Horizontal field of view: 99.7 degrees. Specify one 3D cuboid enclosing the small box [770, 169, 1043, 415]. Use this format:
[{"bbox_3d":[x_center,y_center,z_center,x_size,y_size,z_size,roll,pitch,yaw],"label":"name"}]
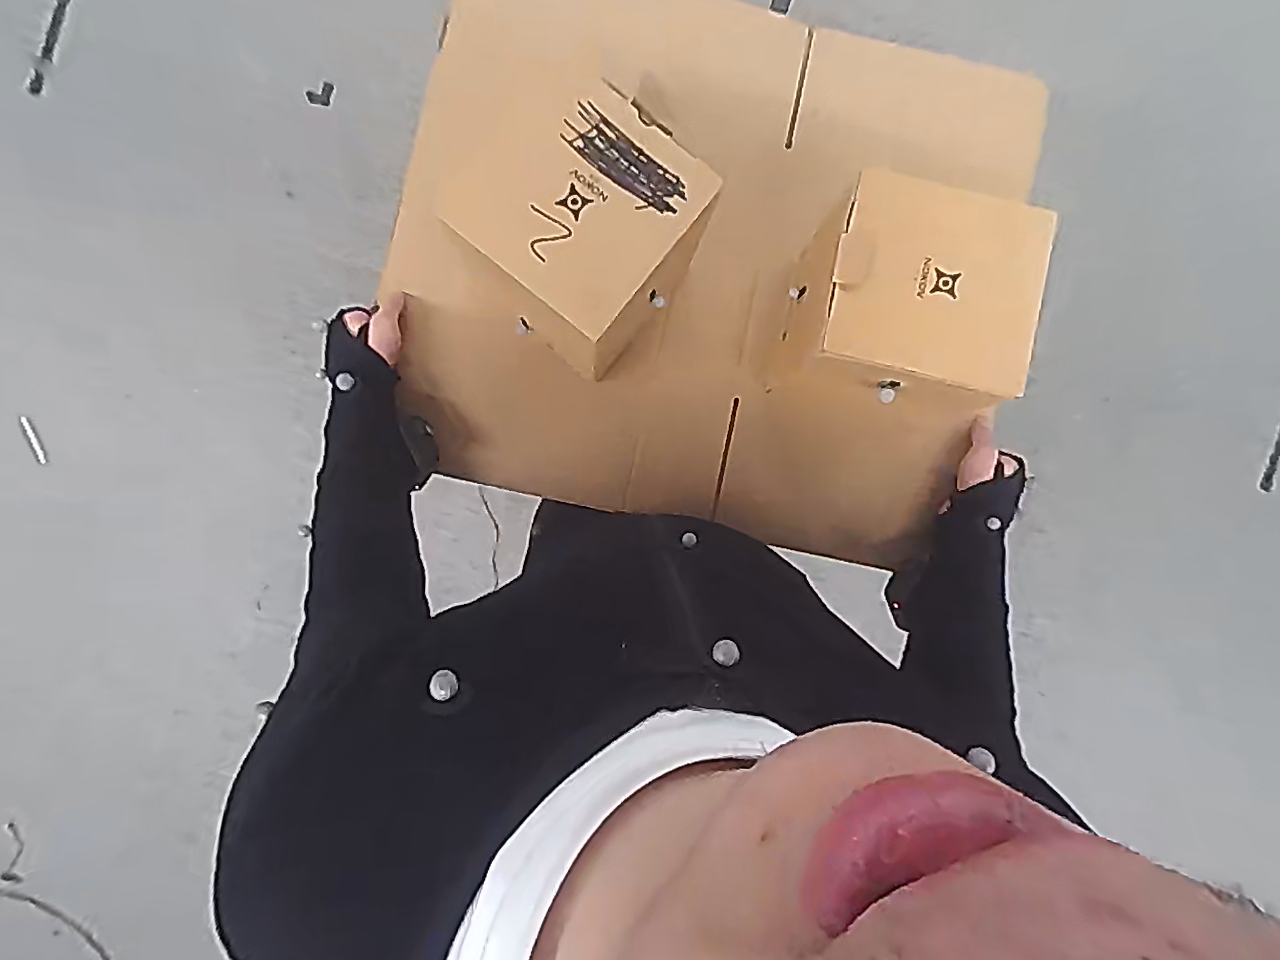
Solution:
[{"bbox_3d":[0.251,-0.171,0.549,0.179,0.176,0.168,13,86,0],"label":"small box"}]
